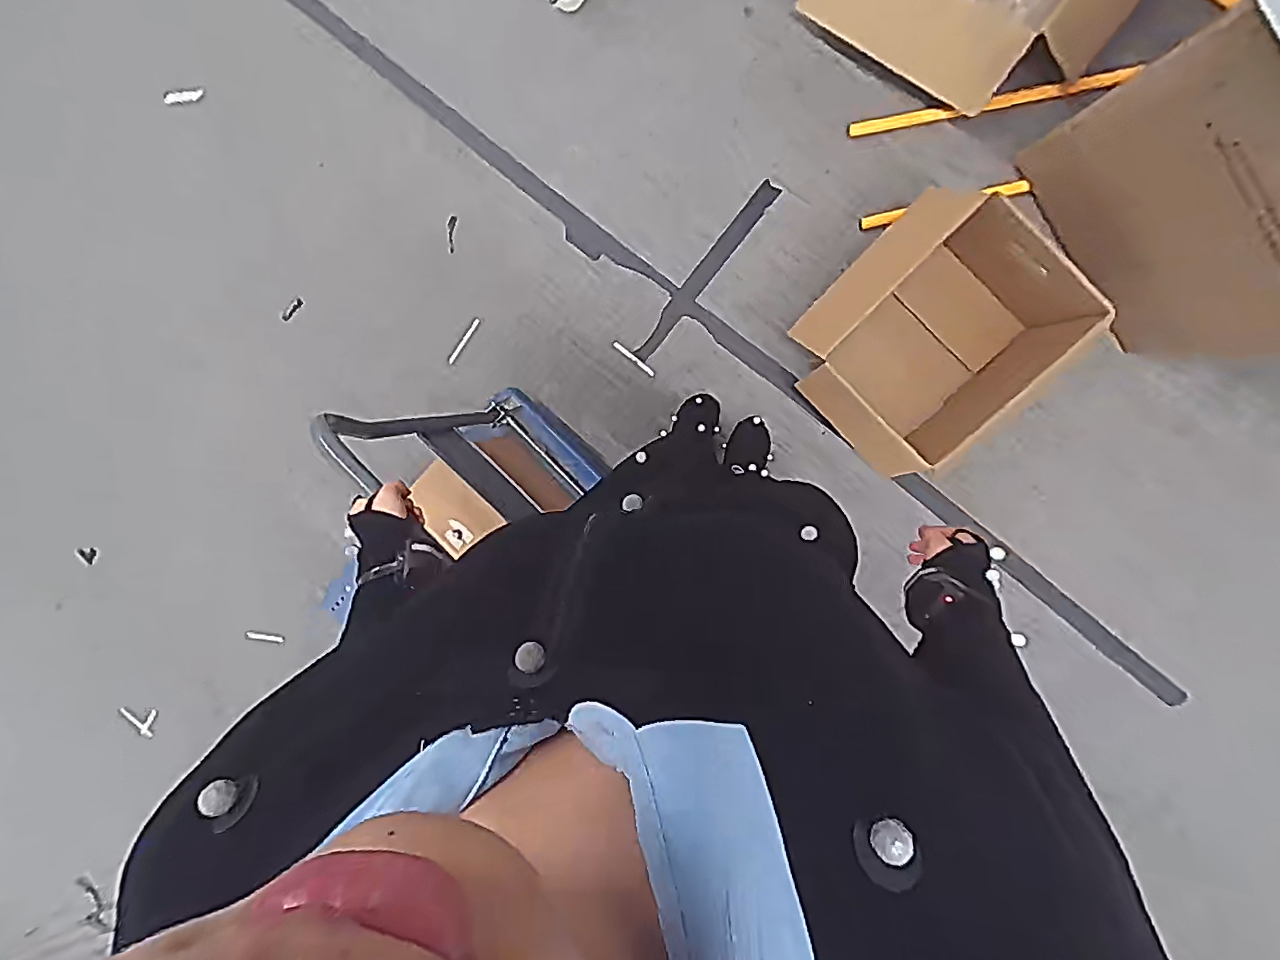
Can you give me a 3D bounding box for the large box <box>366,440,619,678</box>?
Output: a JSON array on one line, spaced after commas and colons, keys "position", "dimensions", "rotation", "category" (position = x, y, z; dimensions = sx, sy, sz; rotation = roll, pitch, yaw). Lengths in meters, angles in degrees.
[{"position": [-0.318, 0.161, 1.260], "dimensions": [0.408, 0.320, 0.320], "rotation": [46, 104, 1], "category": "large box"}]
